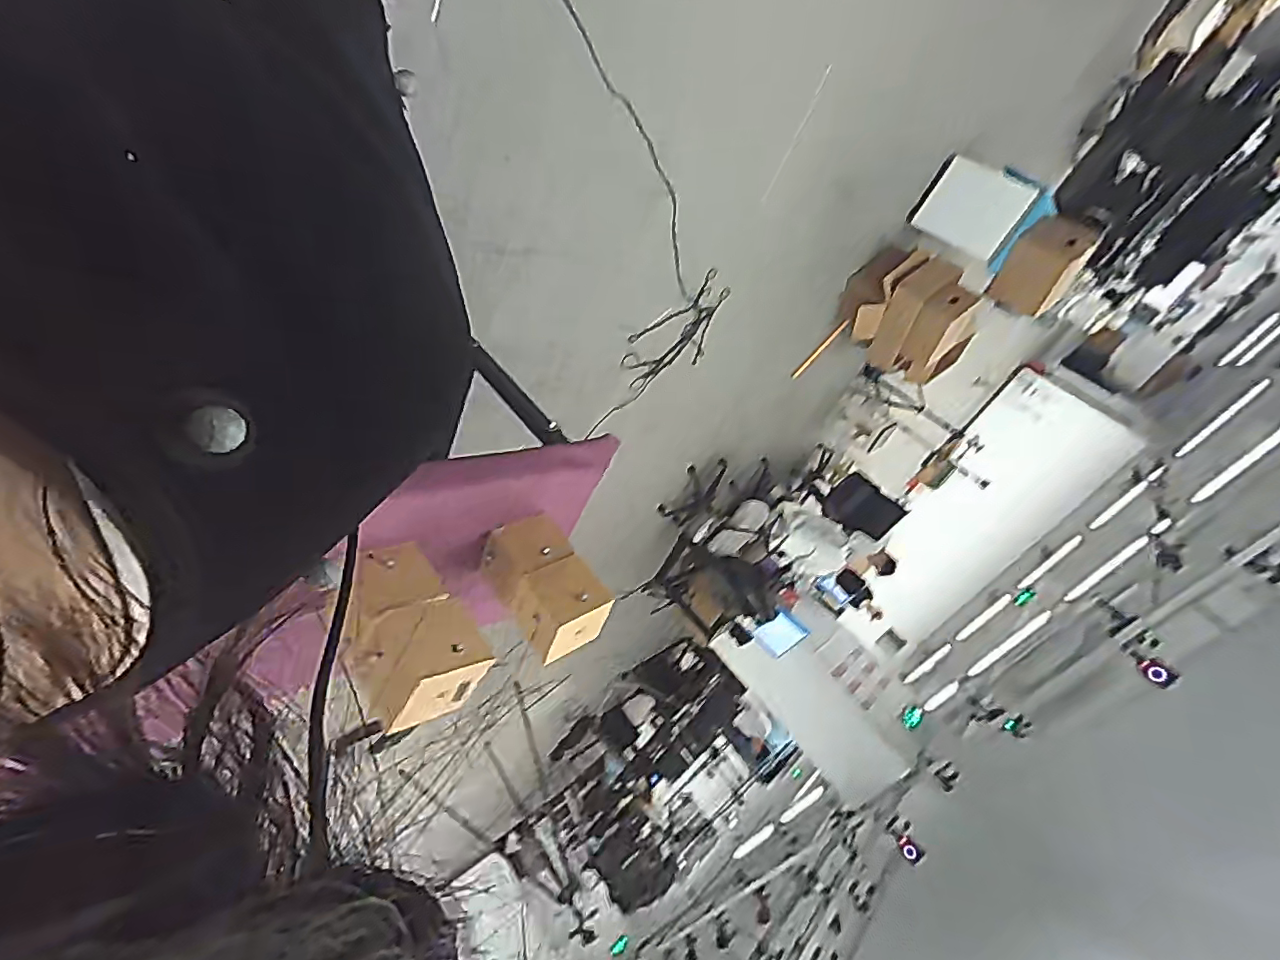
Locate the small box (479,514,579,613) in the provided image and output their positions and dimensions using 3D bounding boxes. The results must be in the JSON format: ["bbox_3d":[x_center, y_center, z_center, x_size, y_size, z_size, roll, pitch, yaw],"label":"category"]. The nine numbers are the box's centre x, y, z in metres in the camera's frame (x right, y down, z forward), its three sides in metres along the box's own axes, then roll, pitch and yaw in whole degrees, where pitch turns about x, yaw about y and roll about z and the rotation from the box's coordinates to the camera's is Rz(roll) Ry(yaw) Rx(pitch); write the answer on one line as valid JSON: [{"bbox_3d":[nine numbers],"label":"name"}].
[{"bbox_3d":[-0.298,0.214,1.436,0.179,0.176,0.168,-16,142,-44],"label":"small box"}]

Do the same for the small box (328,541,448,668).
[{"bbox_3d":[-0.542,0.257,1.151,0.168,0.176,0.179,-11,139,-49],"label":"small box"}]

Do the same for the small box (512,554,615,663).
[{"bbox_3d":[-0.198,0.315,1.359,0.179,0.176,0.168,-18,143,-43],"label":"small box"}]

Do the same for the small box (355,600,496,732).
[{"bbox_3d":[-0.431,0.360,1.086,0.179,0.176,0.168,3,128,-56],"label":"small box"}]
